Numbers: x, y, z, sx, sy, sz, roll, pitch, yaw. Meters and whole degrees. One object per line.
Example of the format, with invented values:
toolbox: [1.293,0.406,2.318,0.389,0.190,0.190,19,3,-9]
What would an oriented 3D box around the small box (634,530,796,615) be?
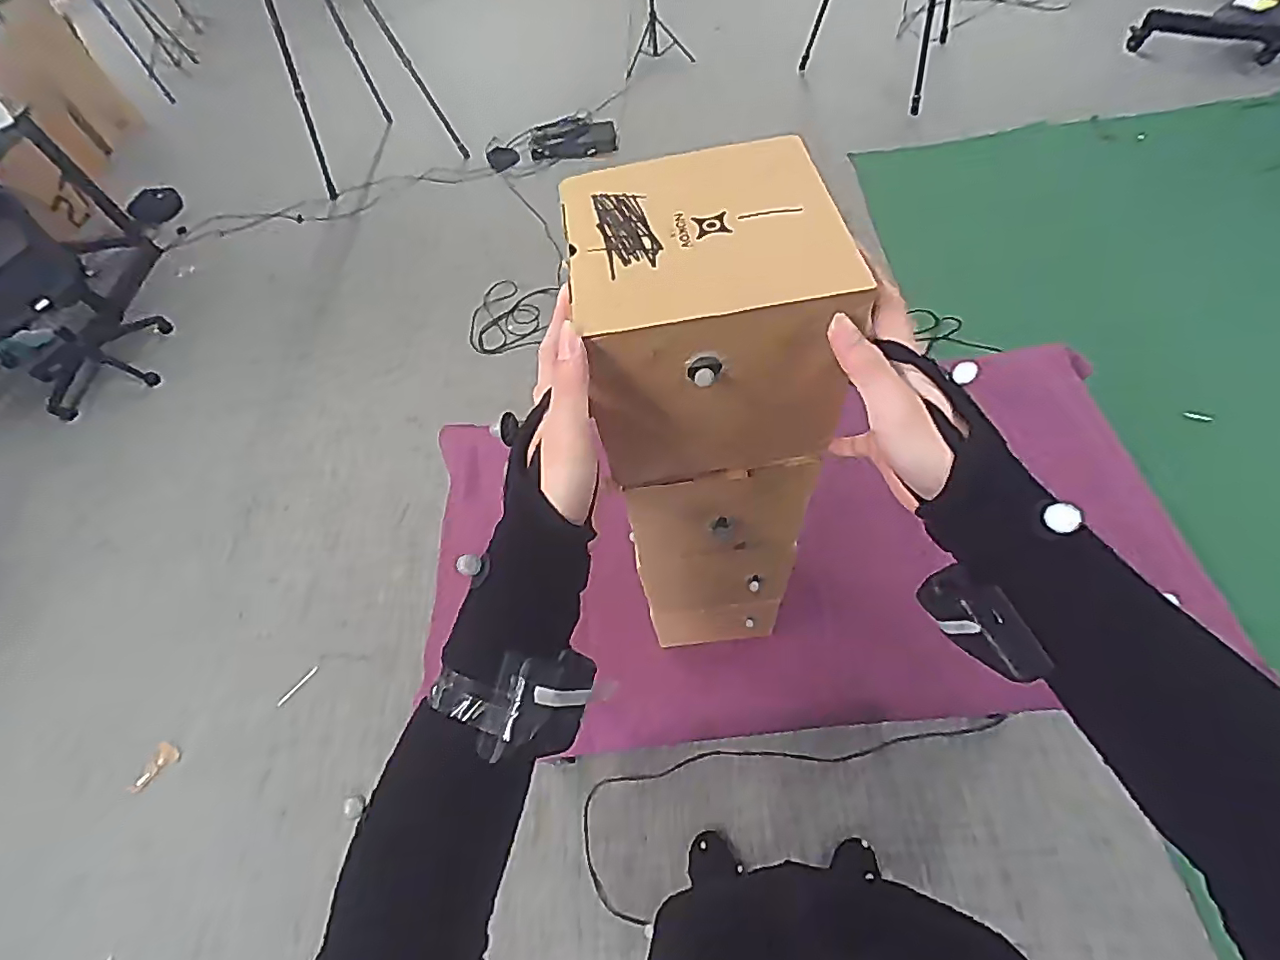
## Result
small box: [0.085,0.062,0.688,0.179,0.176,0.168,-8,57,4]

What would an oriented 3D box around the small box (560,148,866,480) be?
small box: [0.044,-0.115,0.415,0.179,0.176,0.168,-8,58,2]

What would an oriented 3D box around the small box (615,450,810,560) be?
small box: [0.063,-0.029,0.555,0.168,0.176,0.179,-8,58,3]
